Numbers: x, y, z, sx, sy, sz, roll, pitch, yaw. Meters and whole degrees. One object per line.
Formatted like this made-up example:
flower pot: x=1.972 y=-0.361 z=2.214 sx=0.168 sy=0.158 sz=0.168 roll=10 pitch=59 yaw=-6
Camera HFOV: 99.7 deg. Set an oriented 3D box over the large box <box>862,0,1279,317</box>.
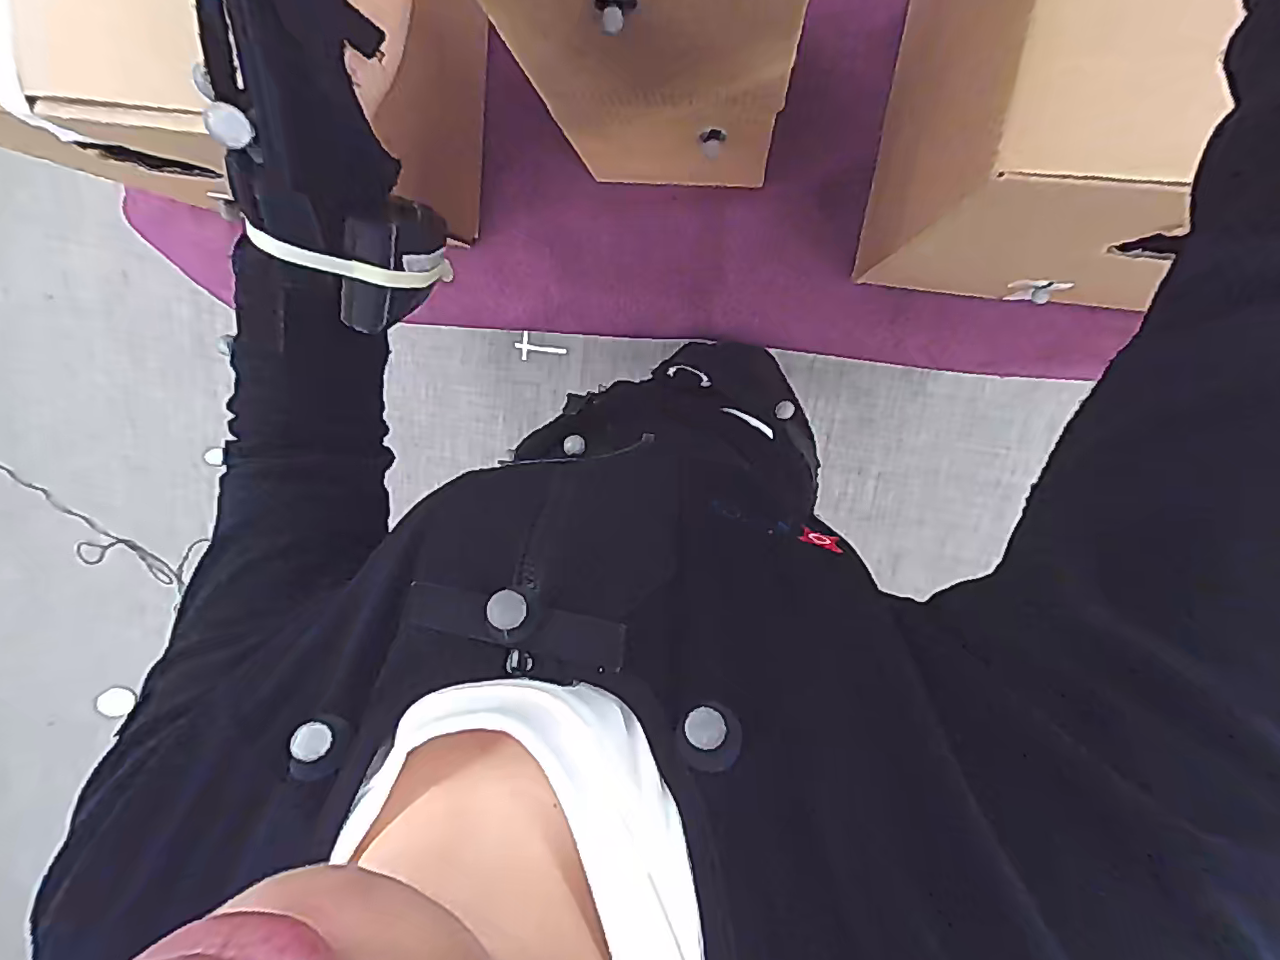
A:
large box: x=0.363 y=-0.336 z=0.340 sx=0.320 sy=0.320 sz=0.408 roll=9 pitch=101 yaw=7
